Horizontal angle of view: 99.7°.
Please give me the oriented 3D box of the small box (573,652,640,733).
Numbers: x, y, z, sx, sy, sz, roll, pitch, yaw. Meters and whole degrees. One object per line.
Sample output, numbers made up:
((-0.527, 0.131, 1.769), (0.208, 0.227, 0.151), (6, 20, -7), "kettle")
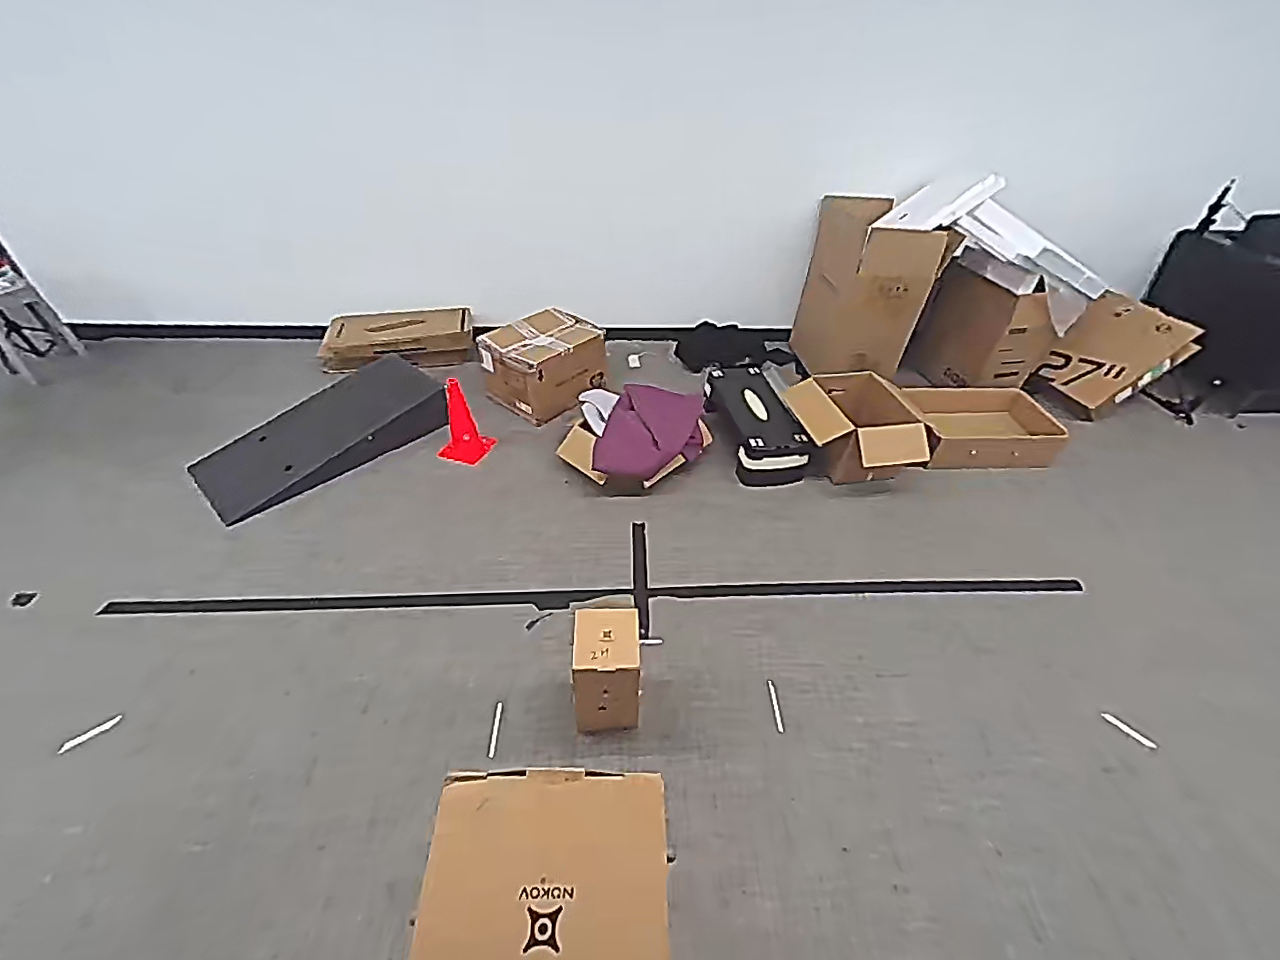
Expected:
((-0.094, 0.588, 1.507), (0.179, 0.176, 0.168), (-2, 41, -6), "small box")

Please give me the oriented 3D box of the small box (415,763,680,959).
((-0.062, 0.331, 0.408), (0.168, 0.176, 0.179), (2, 50, -3), "small box")

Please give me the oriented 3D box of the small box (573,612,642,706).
((-0.084, 0.462, 1.401), (0.168, 0.176, 0.179), (0, 41, -3), "small box")
